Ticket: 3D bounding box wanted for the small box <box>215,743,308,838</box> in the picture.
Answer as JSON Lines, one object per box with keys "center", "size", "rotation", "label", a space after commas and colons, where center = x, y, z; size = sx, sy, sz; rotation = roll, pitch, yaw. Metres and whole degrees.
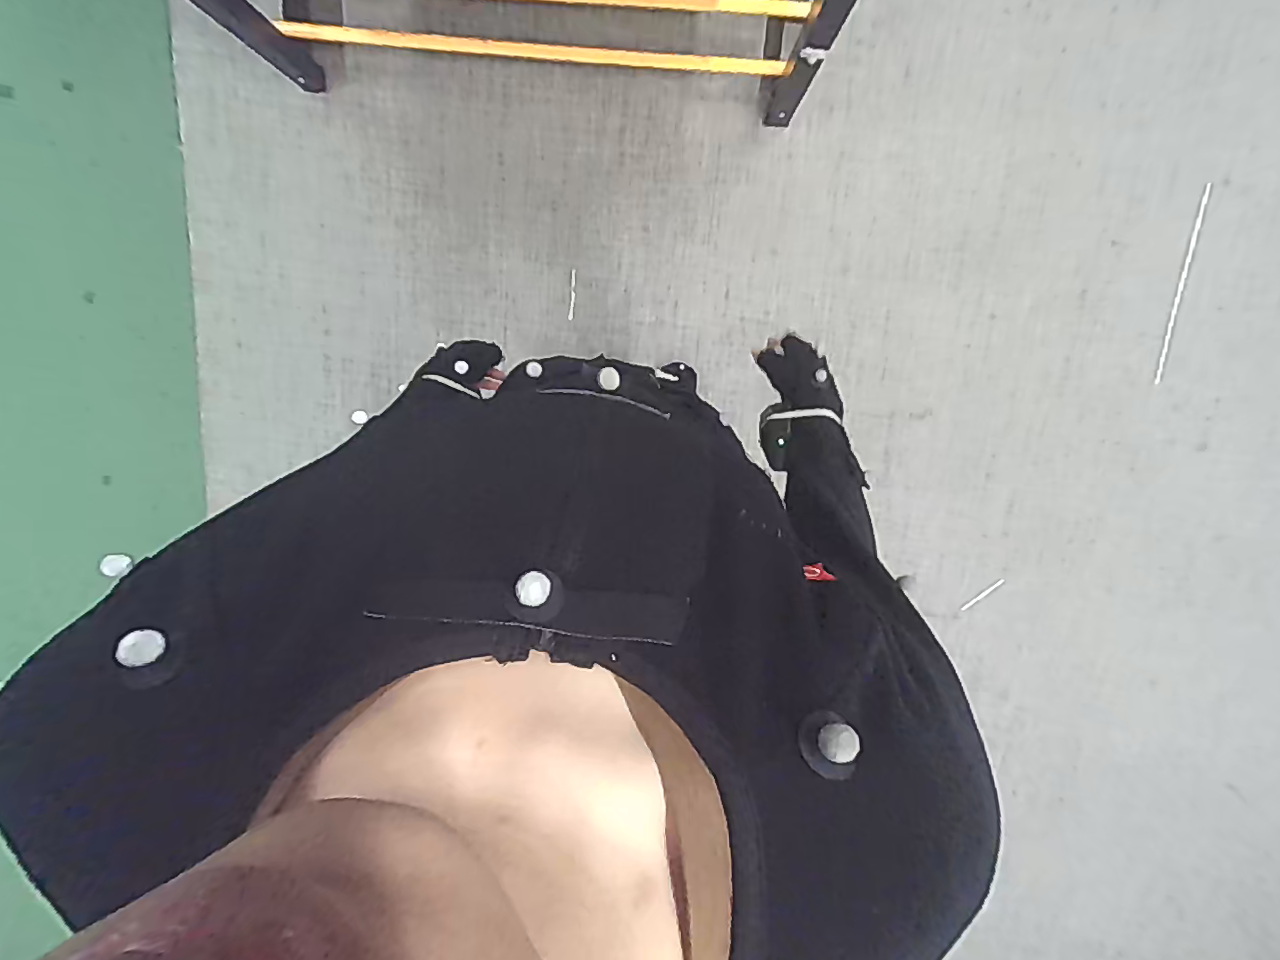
{"center": [-1.124, 0.919, 1.615], "size": [0.168, 0.176, 0.179], "rotation": [7, 102, 0], "label": "small box"}
